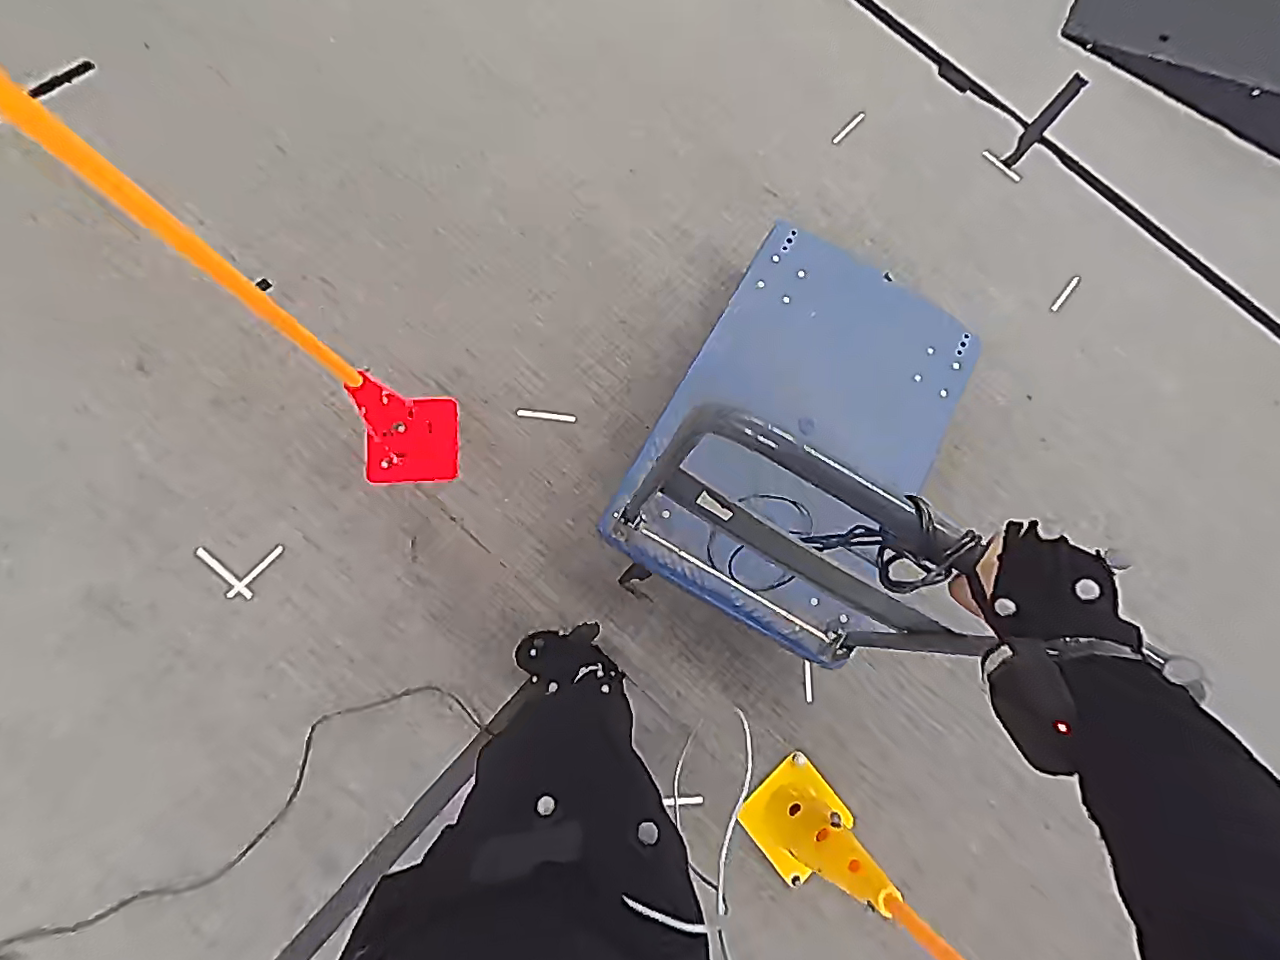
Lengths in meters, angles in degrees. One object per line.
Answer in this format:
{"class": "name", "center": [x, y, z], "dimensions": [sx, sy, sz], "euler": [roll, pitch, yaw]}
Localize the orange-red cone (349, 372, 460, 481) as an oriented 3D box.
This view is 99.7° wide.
{"class": "orange-red cone", "center": [-0.487, -0.129, 1.066], "dimensions": [0.199, 0.360, 0.198], "euler": [-1, 78, -9]}
